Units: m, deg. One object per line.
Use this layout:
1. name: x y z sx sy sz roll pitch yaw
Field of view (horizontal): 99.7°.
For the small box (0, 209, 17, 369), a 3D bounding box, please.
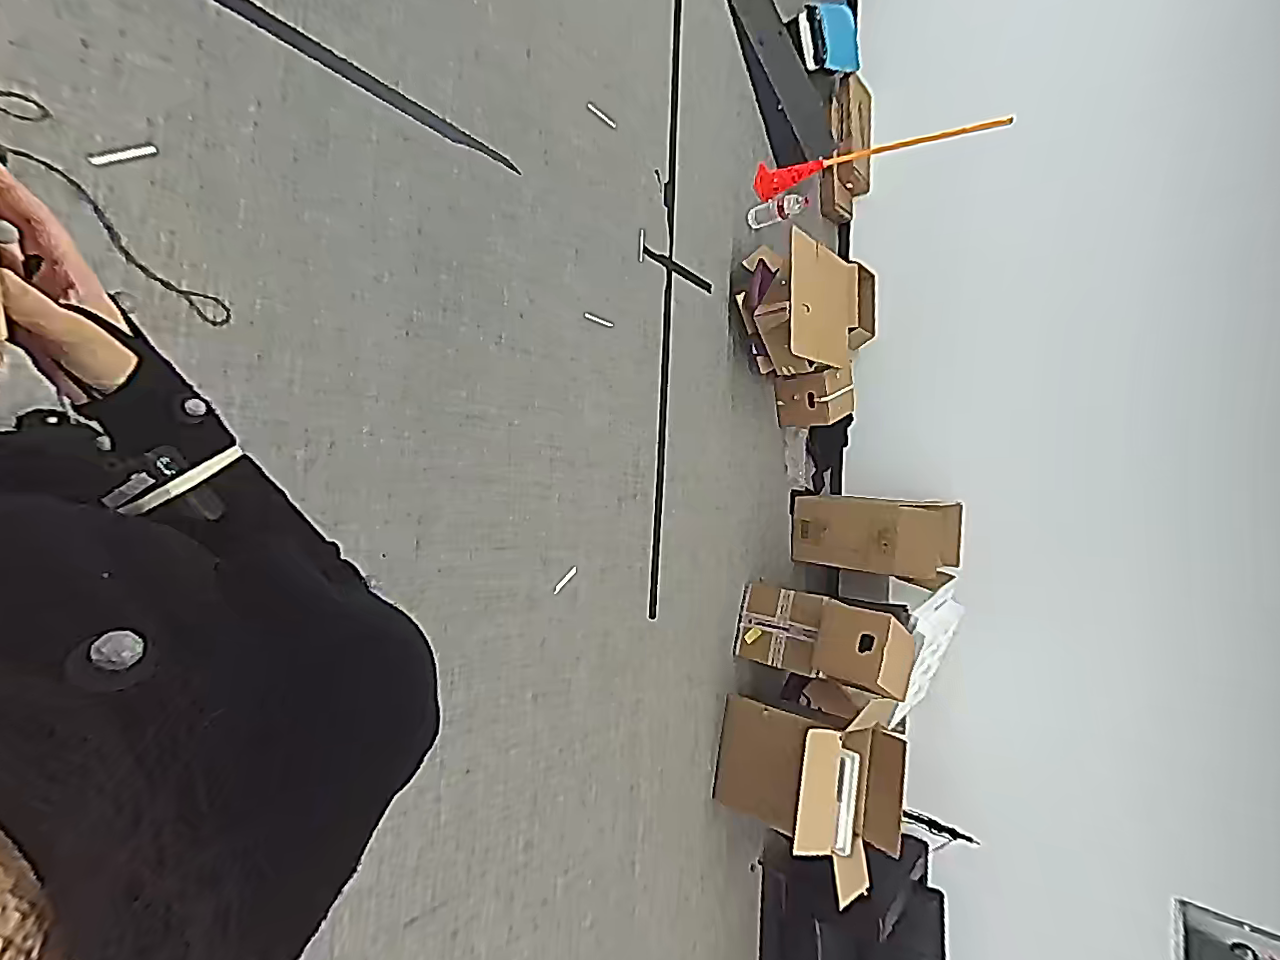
1. small box: -0.429 -0.135 0.250 0.168 0.176 0.179 -9 92 -54
